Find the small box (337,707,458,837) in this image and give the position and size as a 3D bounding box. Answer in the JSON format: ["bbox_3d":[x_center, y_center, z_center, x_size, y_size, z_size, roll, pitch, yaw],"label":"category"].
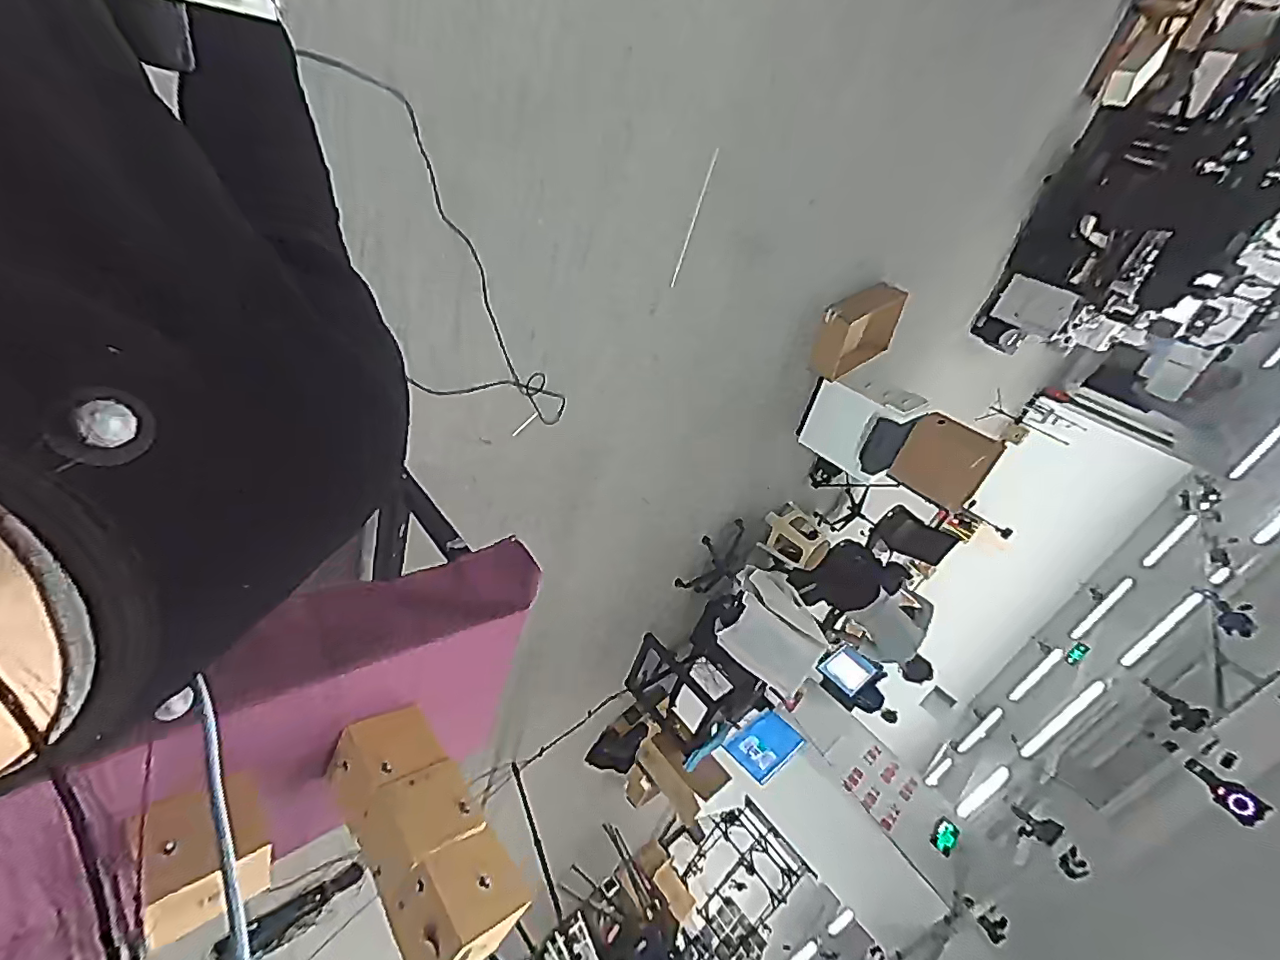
[{"bbox_3d":[-0.552,0.647,1.225,0.179,0.176,0.168,3,120,-51],"label":"small box"}]

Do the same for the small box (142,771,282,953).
[{"bbox_3d":[-0.779,0.681,0.983,0.179,0.176,0.168,-10,130,-46],"label":"small box"}]

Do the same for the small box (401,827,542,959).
[{"bbox_3d":[-0.335,0.835,1.063,0.179,0.176,0.168,13,113,-55],"label":"small box"}]
